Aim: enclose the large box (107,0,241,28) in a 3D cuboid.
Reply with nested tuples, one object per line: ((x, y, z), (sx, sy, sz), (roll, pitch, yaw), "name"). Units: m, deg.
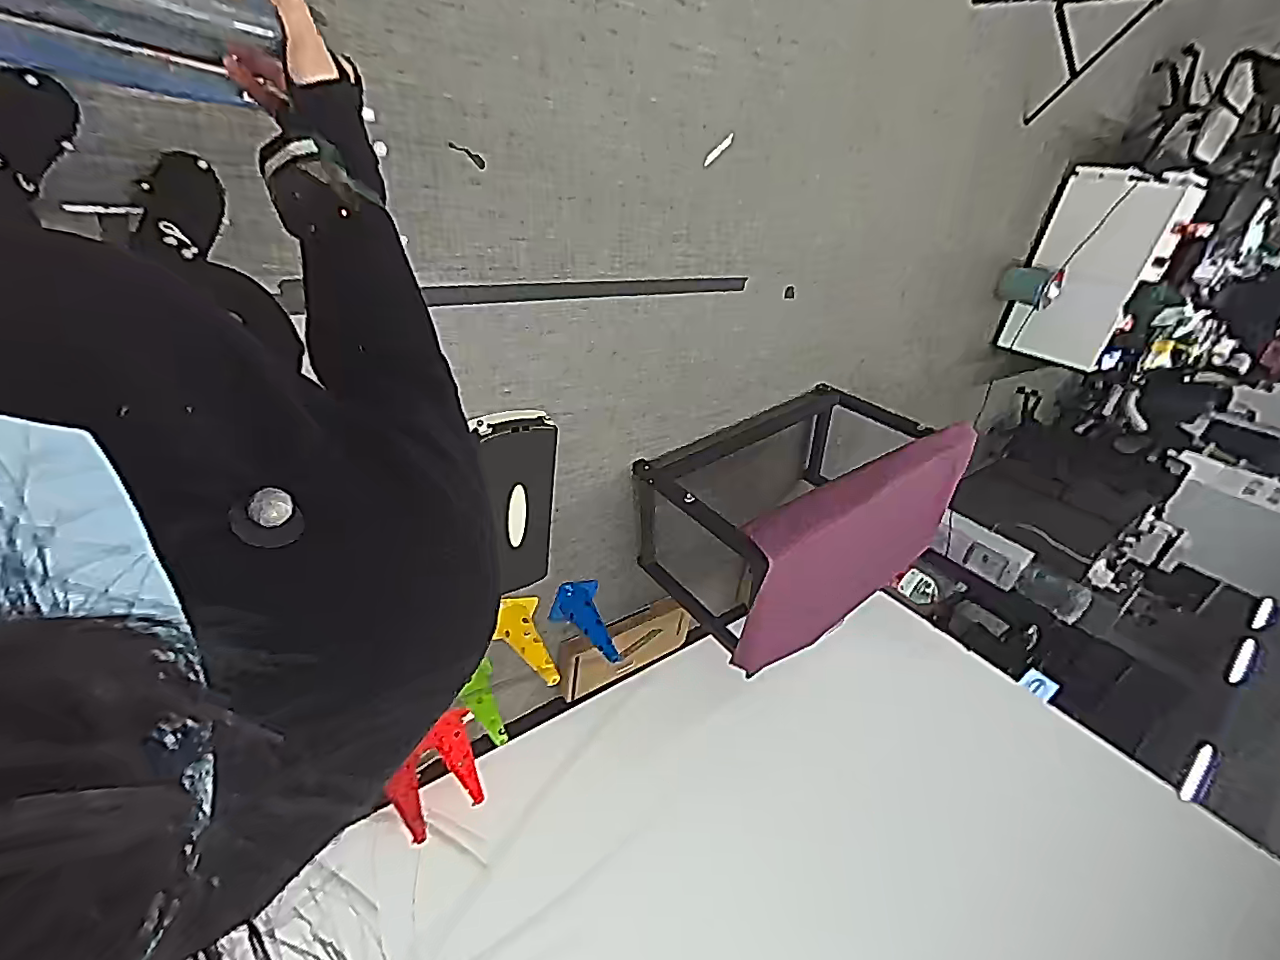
((-0.713, -0.750, 0.579), (0.408, 0.320, 0.320), (-11, 126, -37), "large box")
